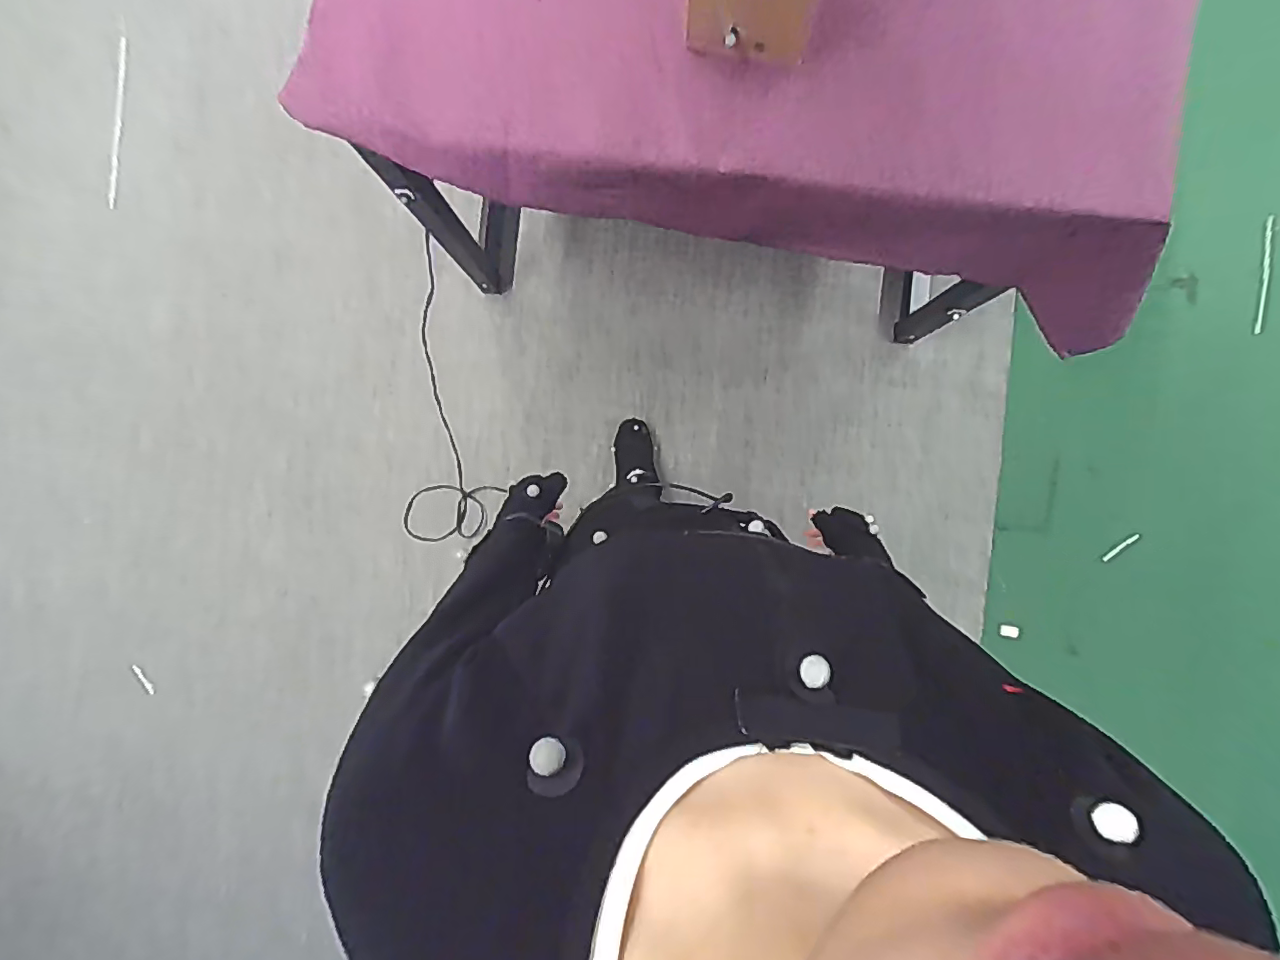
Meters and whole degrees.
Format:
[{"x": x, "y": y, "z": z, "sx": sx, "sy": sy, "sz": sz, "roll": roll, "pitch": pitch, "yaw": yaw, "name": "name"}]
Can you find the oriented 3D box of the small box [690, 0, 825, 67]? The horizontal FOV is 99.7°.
[{"x": 0.158, "y": -0.669, "z": 0.668, "sx": 0.168, "sy": 0.176, "sz": 0.179, "roll": 11, "pitch": 91, "yaw": 2, "name": "small box"}]
